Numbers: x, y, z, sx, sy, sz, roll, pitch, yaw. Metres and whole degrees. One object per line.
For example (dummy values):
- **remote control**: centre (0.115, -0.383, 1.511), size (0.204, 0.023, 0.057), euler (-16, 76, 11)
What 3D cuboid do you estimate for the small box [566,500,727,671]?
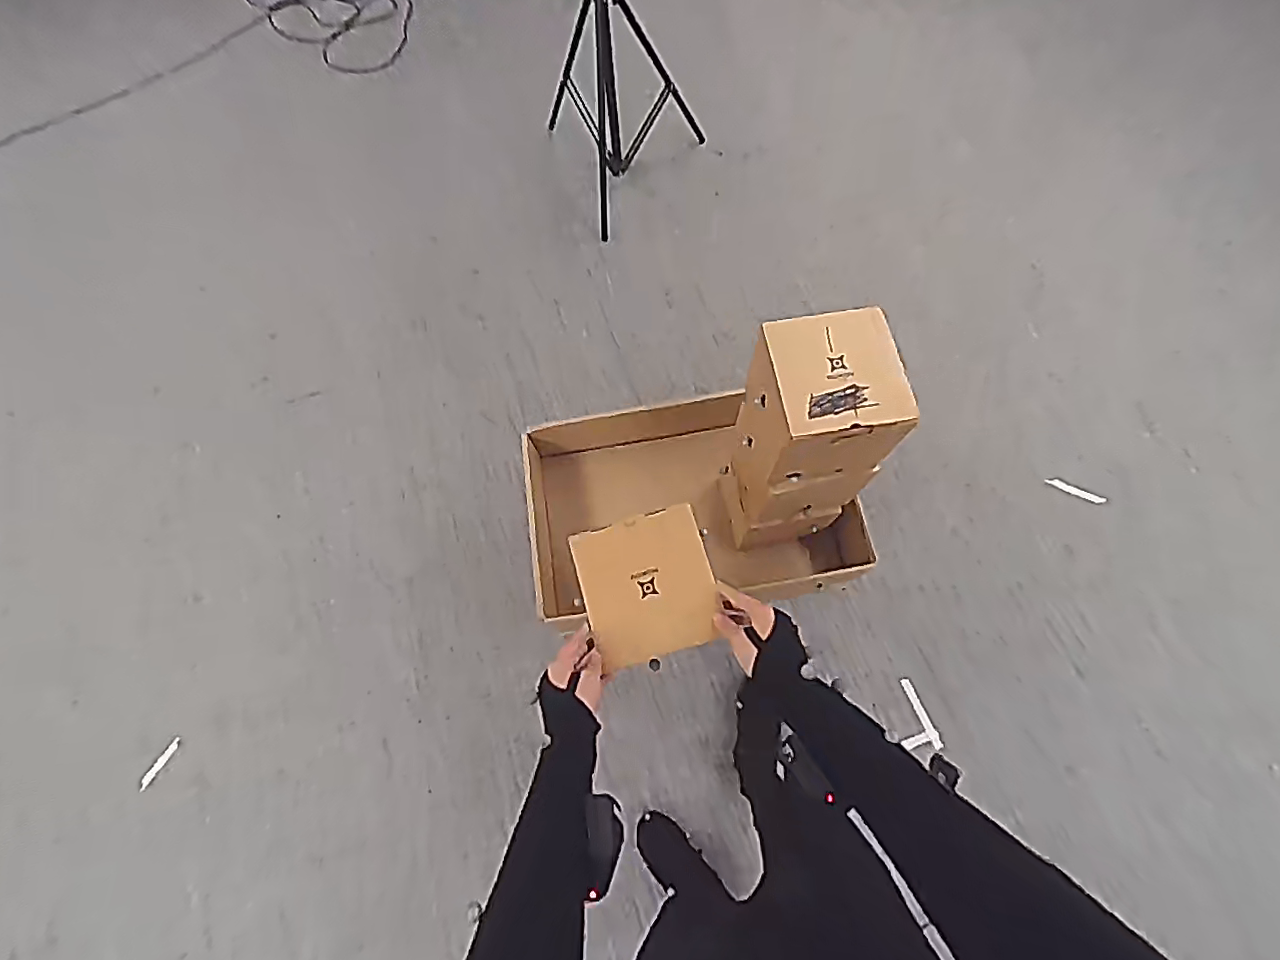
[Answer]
- **small box**: centre (0.012, 0.149, 0.743), size (0.168, 0.176, 0.179), euler (-17, 72, -1)

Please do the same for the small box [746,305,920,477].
- **small box**: centre (0.254, -0.113, 0.759), size (0.168, 0.176, 0.179), euler (-8, 69, 0)

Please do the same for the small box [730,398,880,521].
- **small box**: centre (0.264, -0.042, 0.909), size (0.179, 0.176, 0.168), euler (-12, 70, -3)
